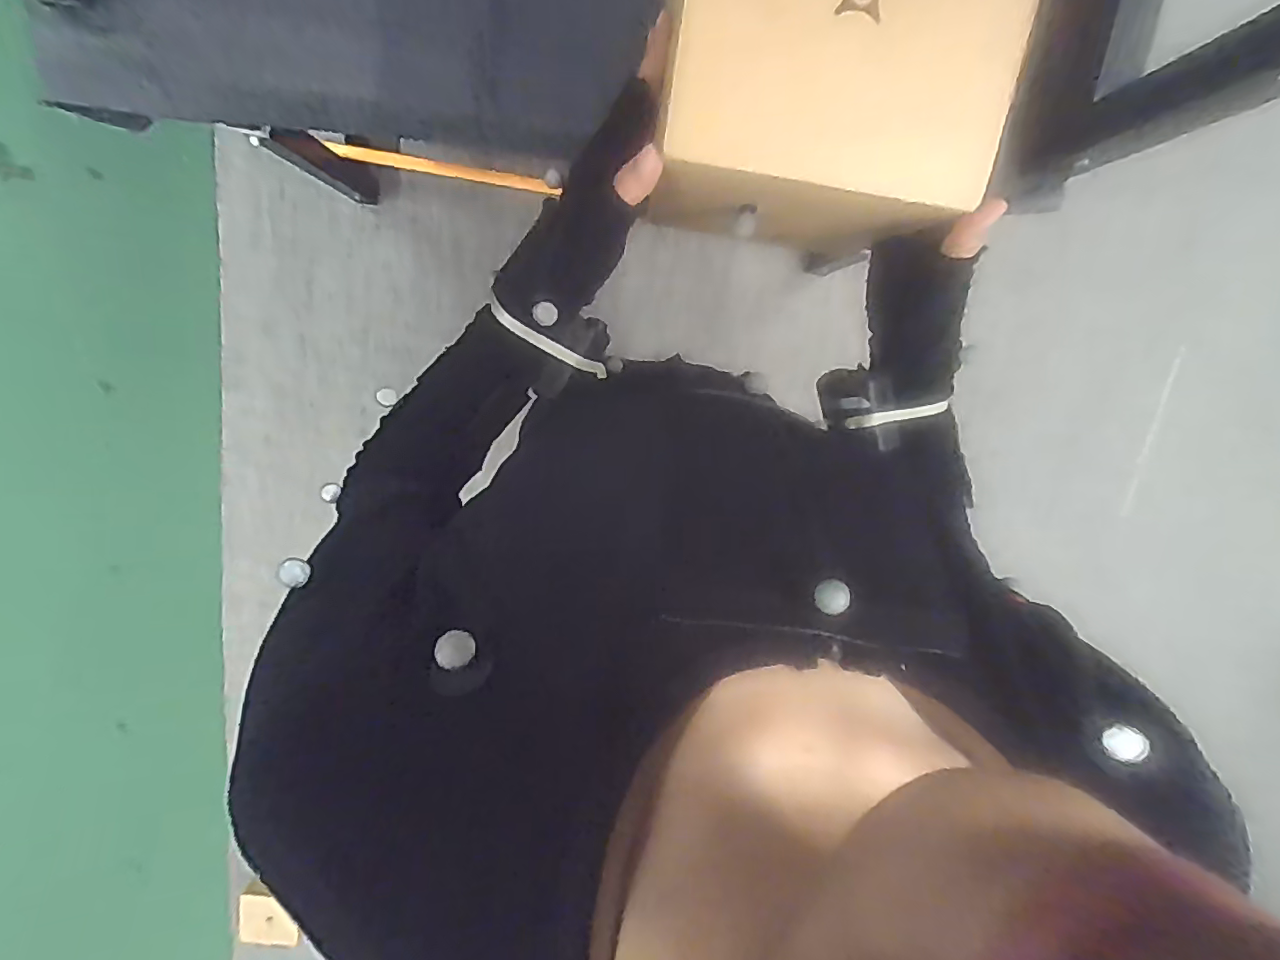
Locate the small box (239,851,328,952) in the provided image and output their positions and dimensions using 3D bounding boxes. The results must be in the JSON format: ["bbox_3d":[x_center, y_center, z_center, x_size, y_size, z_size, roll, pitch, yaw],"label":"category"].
[{"bbox_3d":[-1.068,1.263,1.629,0.168,0.176,0.179,9,102,-4],"label":"small box"}]

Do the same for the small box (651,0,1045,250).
[{"bbox_3d":[0.100,-0.248,0.319,0.168,0.176,0.179,7,103,-5],"label":"small box"}]
